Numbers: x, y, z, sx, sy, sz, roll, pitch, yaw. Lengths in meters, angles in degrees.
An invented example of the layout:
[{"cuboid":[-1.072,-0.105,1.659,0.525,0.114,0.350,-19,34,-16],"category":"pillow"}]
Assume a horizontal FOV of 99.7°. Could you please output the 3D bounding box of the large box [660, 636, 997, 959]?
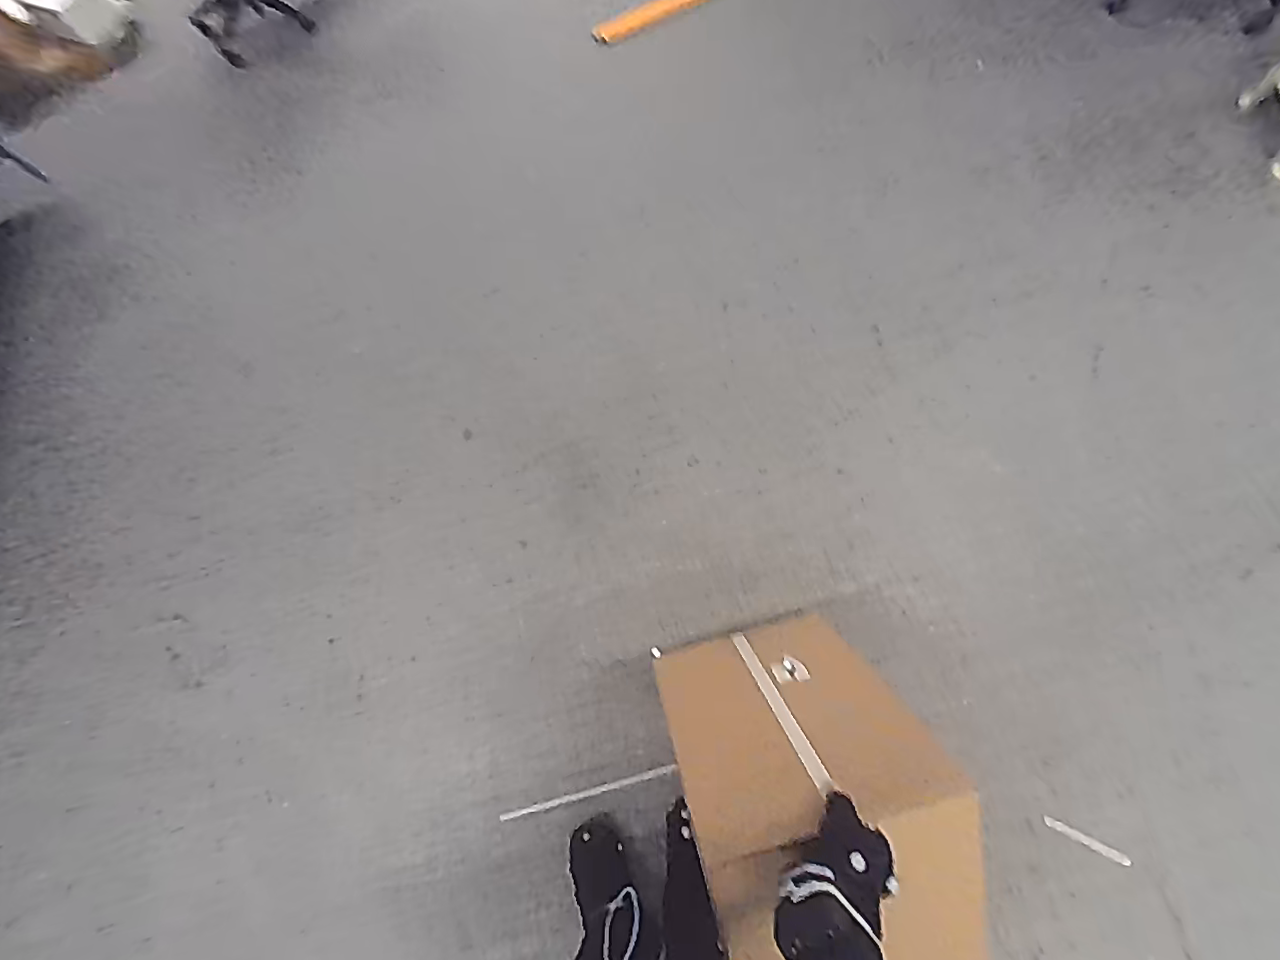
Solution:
[{"cuboid":[0.240,0.499,0.803,0.320,0.408,0.320,-13,103,-4],"category":"large box"}]
